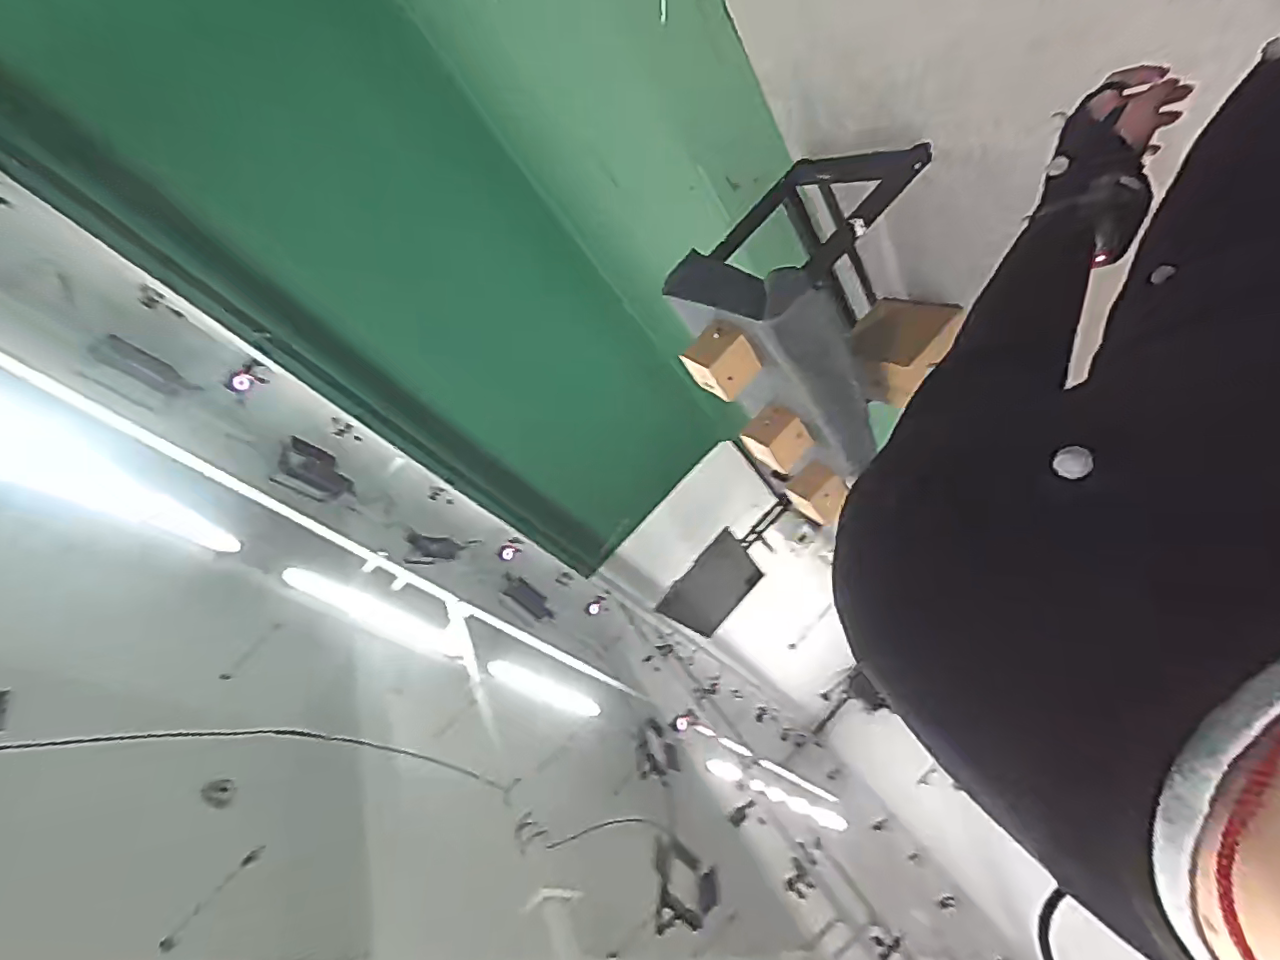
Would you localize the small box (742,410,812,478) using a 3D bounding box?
[{"bbox_3d":[0.534,-0.145,2.100,0.179,0.176,0.168,46,178,-40],"label":"small box"}]

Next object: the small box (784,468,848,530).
[{"bbox_3d":[0.757,0.076,2.297,0.168,0.176,0.179,47,180,-29],"label":"small box"}]

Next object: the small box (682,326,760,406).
[{"bbox_3d":[0.283,-0.393,1.850,0.168,0.176,0.179,42,177,46],"label":"small box"}]
